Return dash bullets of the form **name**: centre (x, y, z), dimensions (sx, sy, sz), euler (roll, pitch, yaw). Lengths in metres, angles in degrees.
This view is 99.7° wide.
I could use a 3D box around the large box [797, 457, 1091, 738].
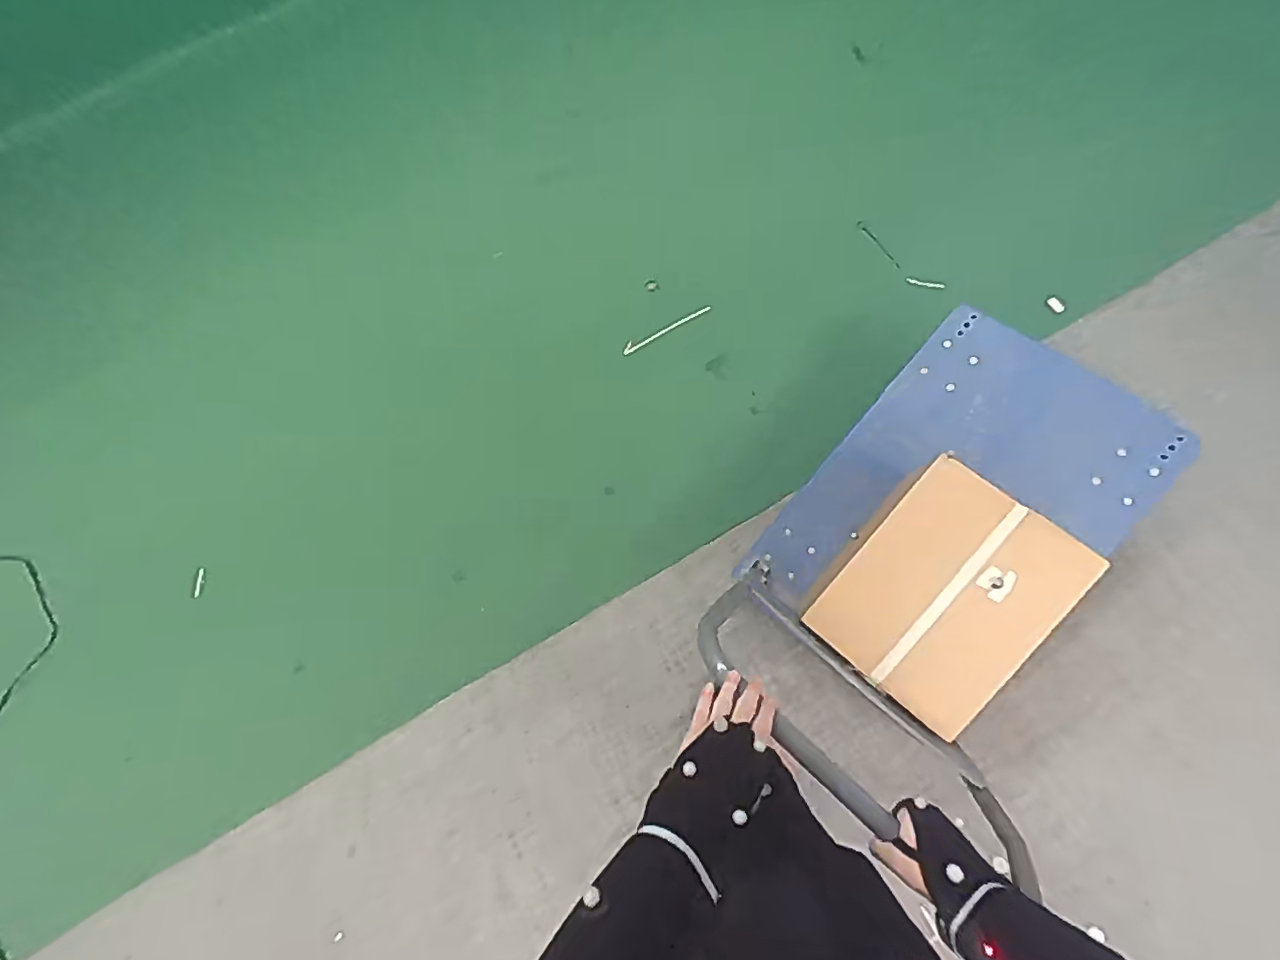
- **large box**: centre (0.568, 0.226, 1.105), dimensions (0.320, 0.320, 0.408), euler (40, 93, 16)
